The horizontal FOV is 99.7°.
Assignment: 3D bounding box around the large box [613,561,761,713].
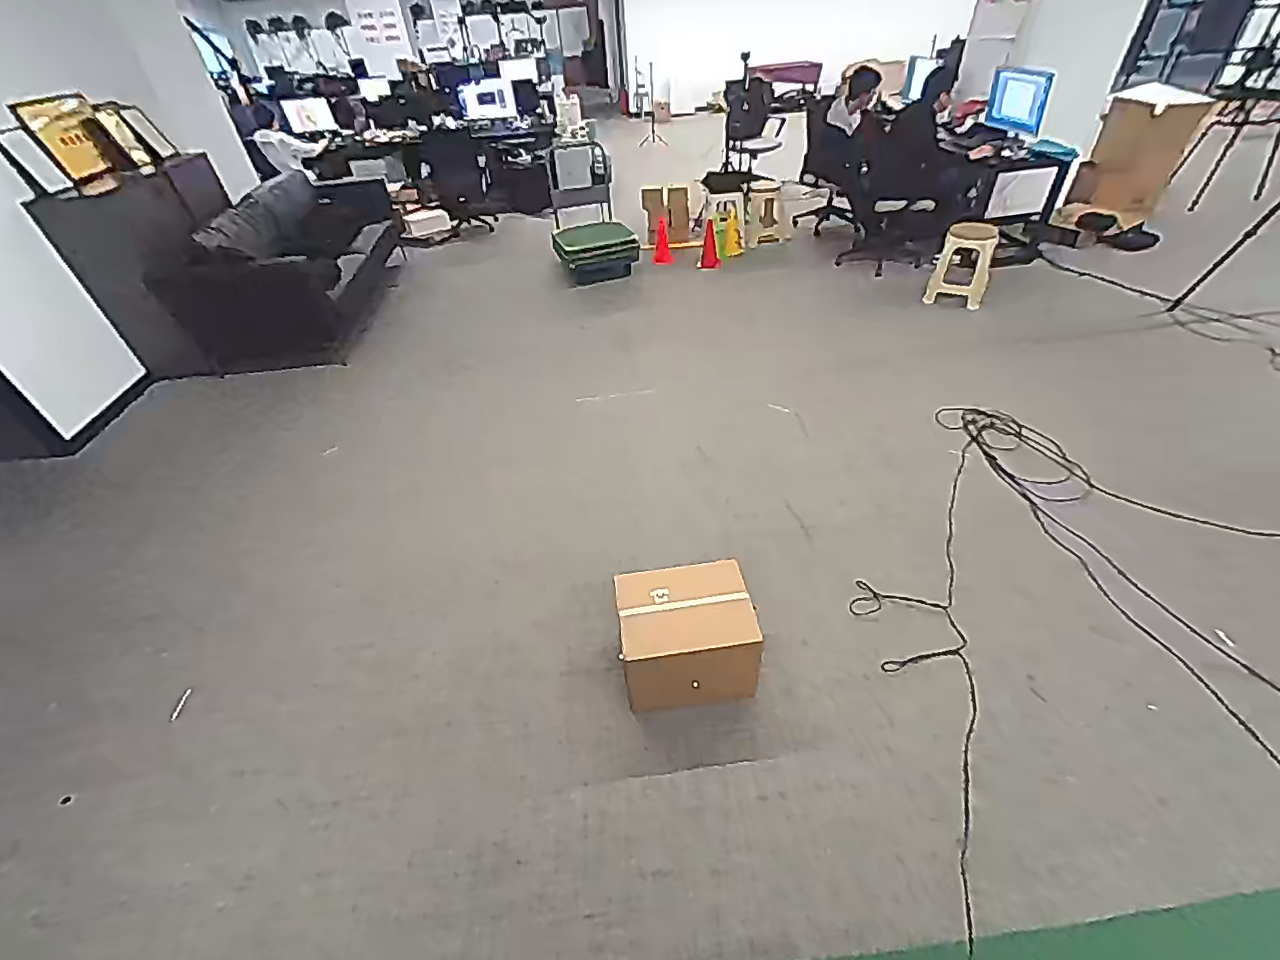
[{"bbox_3d":[0.144,0.505,1.746,0.408,0.320,0.320,-9,40,-3],"label":"large box"}]
